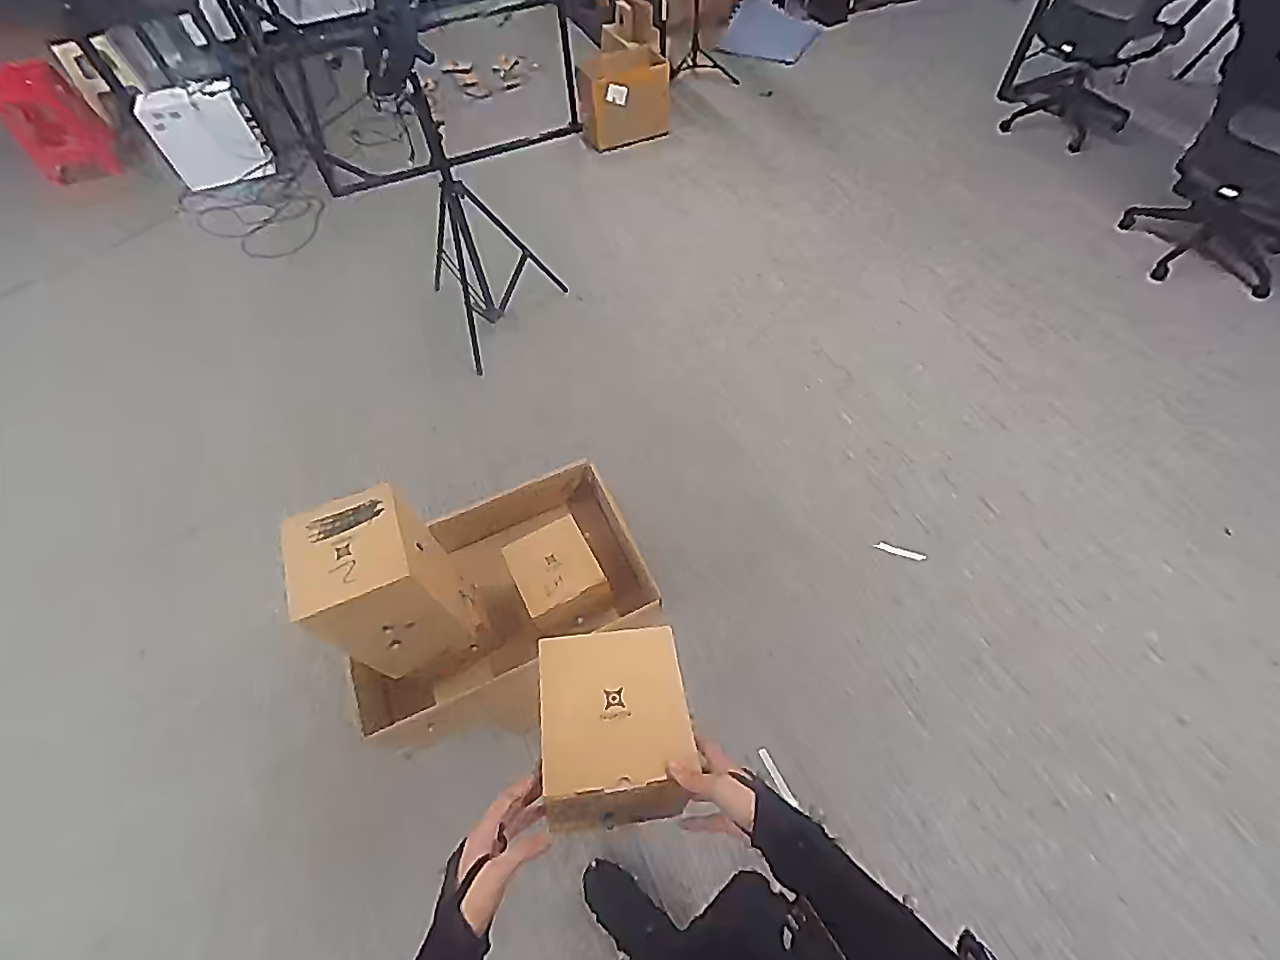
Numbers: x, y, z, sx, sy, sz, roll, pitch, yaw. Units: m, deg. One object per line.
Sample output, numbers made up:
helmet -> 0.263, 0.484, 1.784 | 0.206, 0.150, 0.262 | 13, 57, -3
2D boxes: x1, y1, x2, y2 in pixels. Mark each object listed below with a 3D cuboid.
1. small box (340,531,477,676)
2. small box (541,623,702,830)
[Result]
small box -> -0.417, 0.228, 0.988 | 0.168, 0.176, 0.179 | -22, 58, -10
small box -> -0.035, 0.301, 0.666 | 0.168, 0.176, 0.179 | -4, 47, -10
